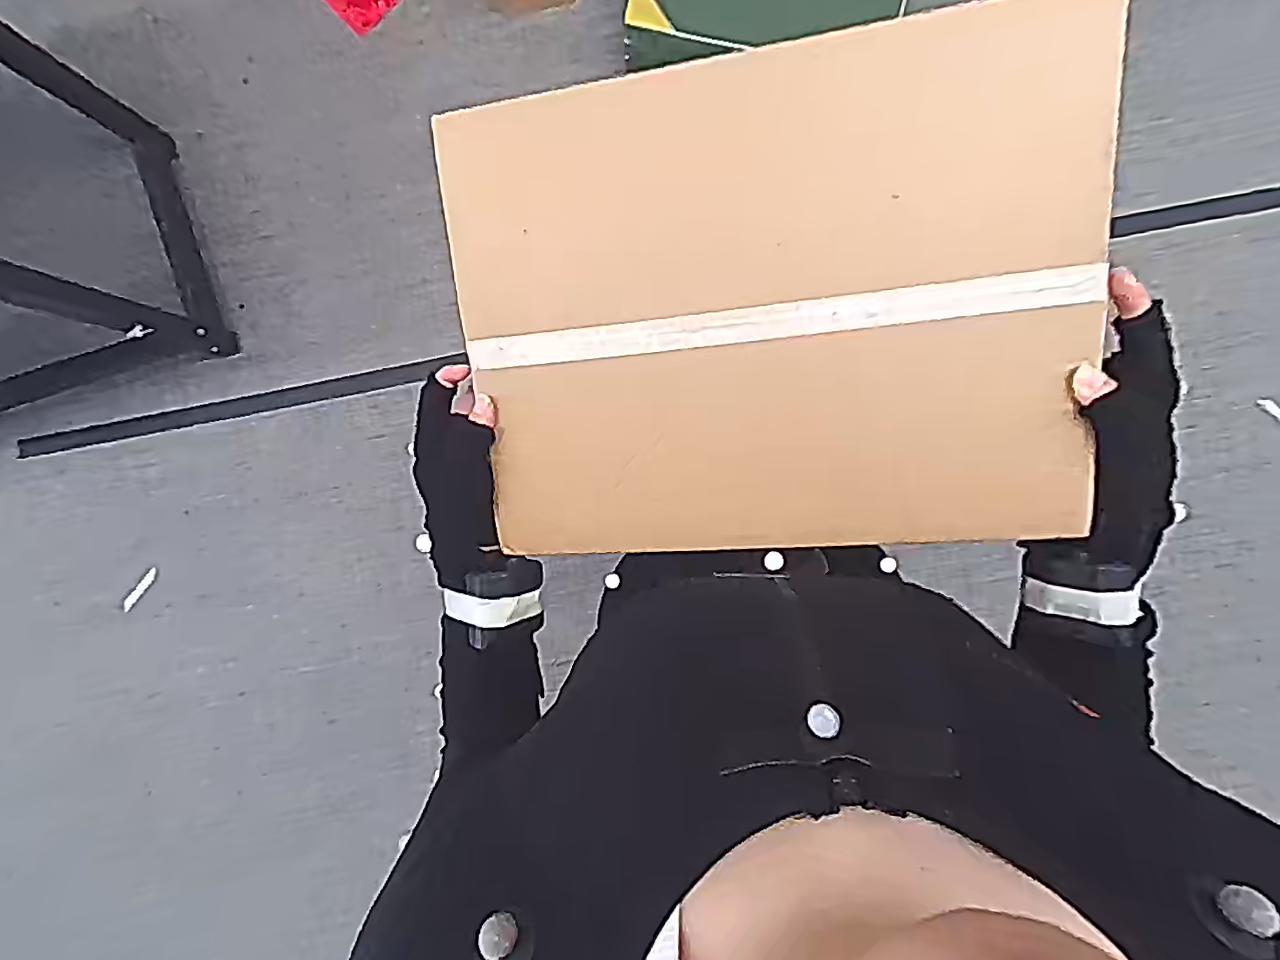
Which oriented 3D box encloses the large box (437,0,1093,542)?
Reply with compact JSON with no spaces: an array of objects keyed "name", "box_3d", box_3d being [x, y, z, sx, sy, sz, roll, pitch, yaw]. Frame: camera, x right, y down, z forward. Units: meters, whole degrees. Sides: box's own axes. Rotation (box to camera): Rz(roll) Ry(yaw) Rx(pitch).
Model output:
[{"name":"large box","box_3d":[0.098,-0.148,0.505,0.408,0.320,0.320,-4,102,12]}]
